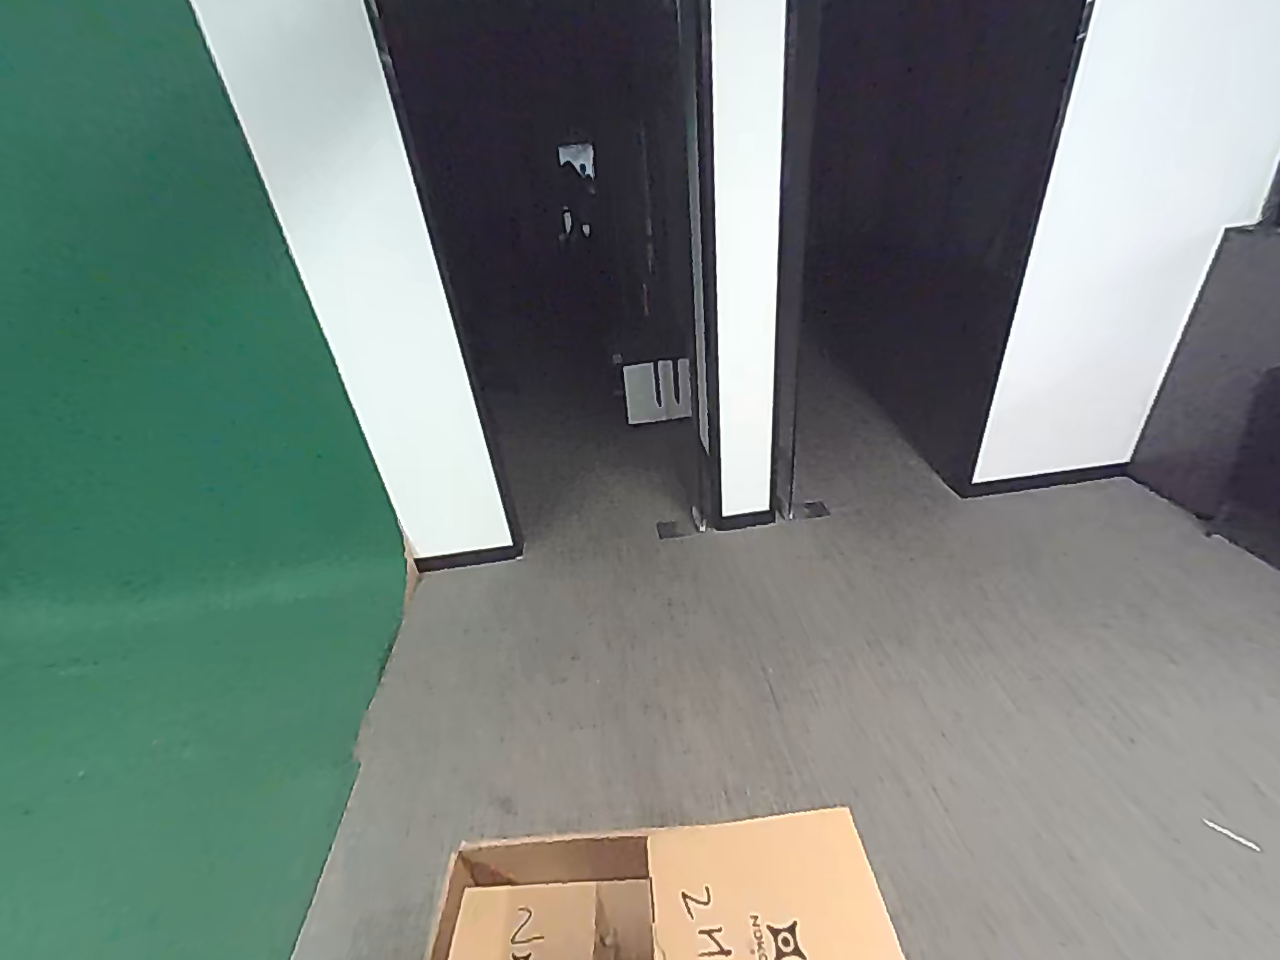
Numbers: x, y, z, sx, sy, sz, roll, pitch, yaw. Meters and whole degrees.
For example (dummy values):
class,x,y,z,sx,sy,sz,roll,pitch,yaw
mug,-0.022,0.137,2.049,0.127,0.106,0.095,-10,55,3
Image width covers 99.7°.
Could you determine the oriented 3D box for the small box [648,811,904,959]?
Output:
class,x,y,z,sx,sy,sz,roll,pitch,yaw
small box,0.107,0.399,0.431,0.179,0.176,0.168,-9,33,2
